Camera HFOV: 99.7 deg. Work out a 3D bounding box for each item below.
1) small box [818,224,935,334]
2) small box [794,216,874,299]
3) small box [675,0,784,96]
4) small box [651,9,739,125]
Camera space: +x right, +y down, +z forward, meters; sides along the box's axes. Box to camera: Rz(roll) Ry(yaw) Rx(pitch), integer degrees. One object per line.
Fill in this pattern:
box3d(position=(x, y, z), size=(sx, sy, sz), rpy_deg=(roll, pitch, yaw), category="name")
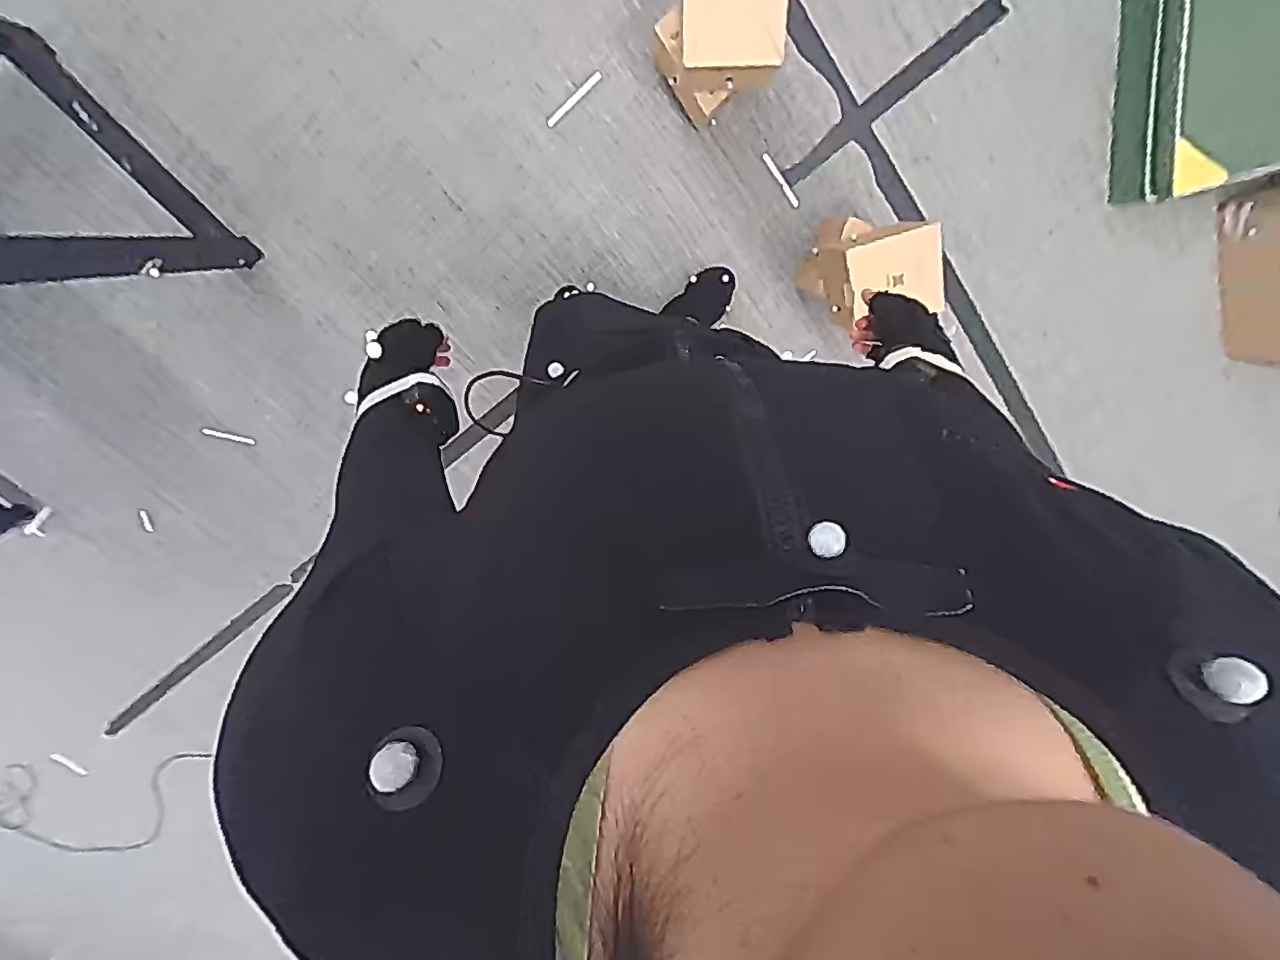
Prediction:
box3d(position=(0.478, -0.416, 1.112), size=(0.179, 0.176, 0.168), rpy_deg=(-14, 115, 6), category="small box")
box3d(position=(0.482, -0.493, 1.257), size=(0.179, 0.176, 0.168), rpy_deg=(20, 114, -9), category="small box")
box3d(position=(0.147, -0.793, 0.936), size=(0.168, 0.176, 0.179), rpy_deg=(-2, 113, 0), category="small box")
box3d(position=(0.137, -0.854, 1.092), size=(0.168, 0.176, 0.179), rpy_deg=(-34, 109, 13), category="small box")
